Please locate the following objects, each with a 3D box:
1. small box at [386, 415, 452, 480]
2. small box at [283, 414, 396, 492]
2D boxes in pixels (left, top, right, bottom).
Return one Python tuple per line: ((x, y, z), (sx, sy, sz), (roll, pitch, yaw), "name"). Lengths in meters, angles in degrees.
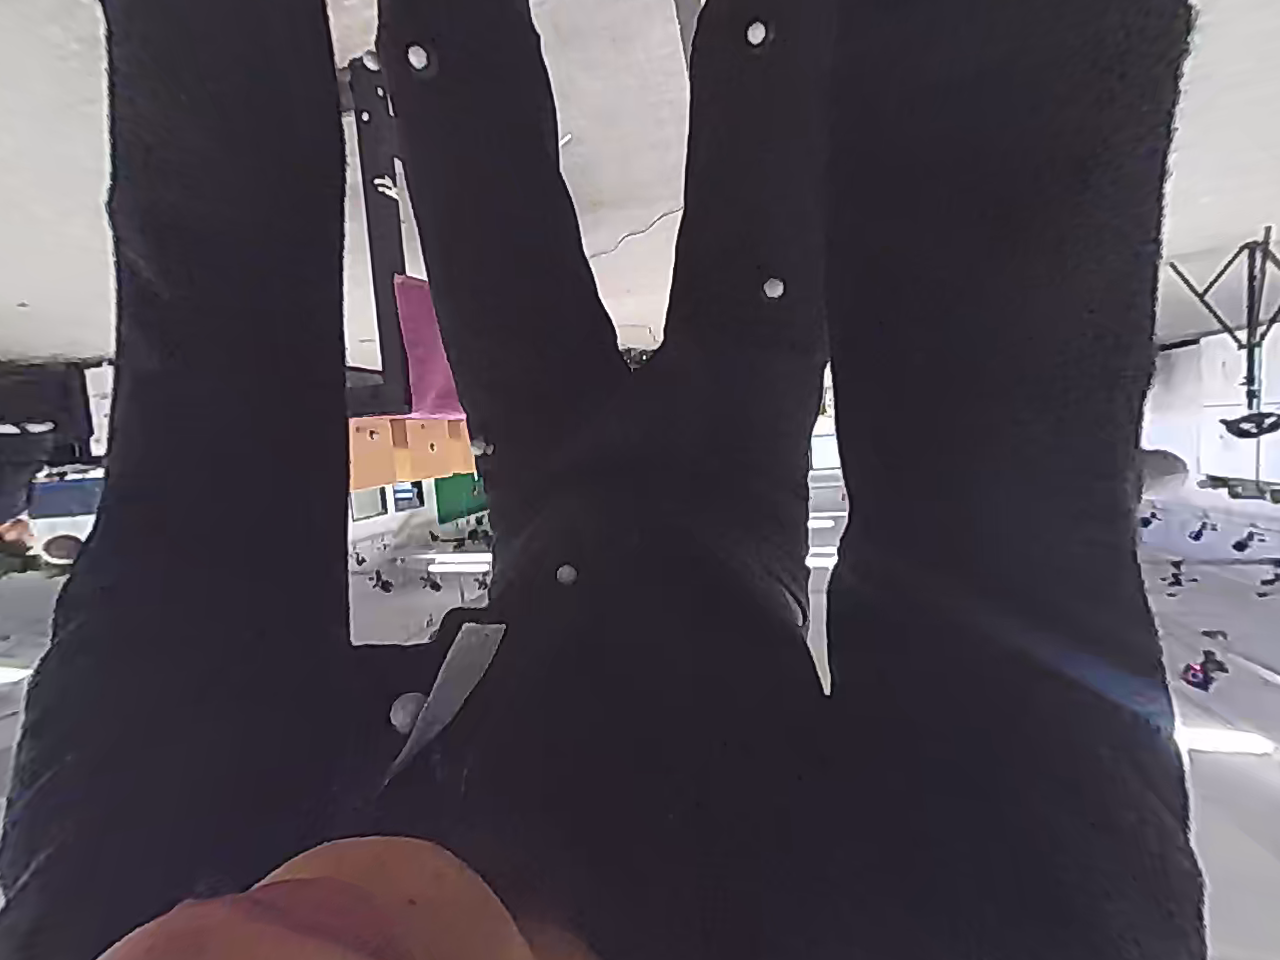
((-0.661, -0.094, 1.526), (0.179, 0.176, 0.168), (-2, -174, 19), "small box")
((-0.719, -0.068, 1.295), (0.179, 0.176, 0.168), (-2, -172, 17), "small box")
